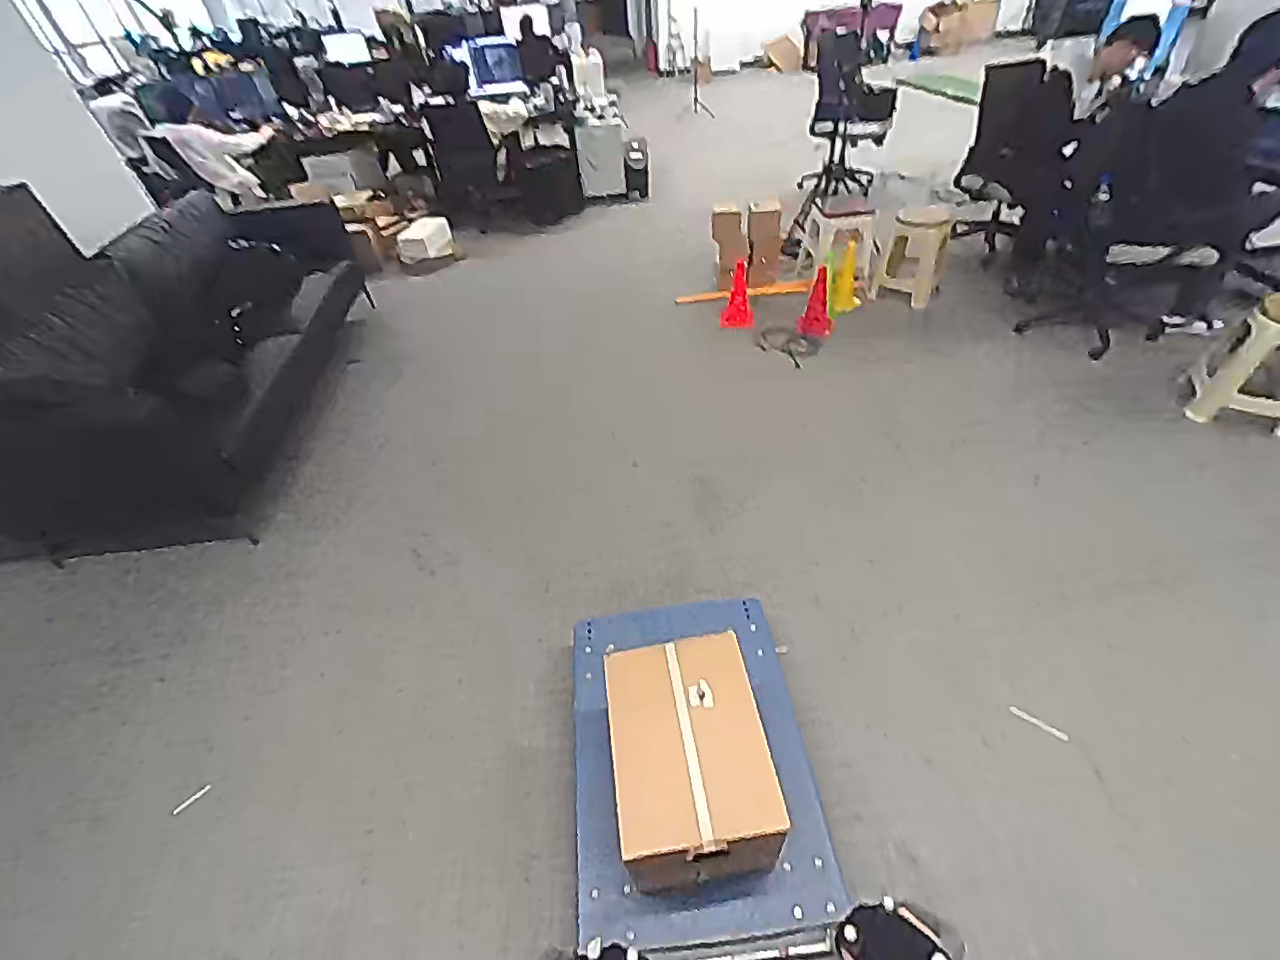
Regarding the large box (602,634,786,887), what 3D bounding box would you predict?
[{"bbox_3d":[0.108,0.629,1.228,0.320,0.320,0.408,-9,44,-2],"label":"large box"}]
